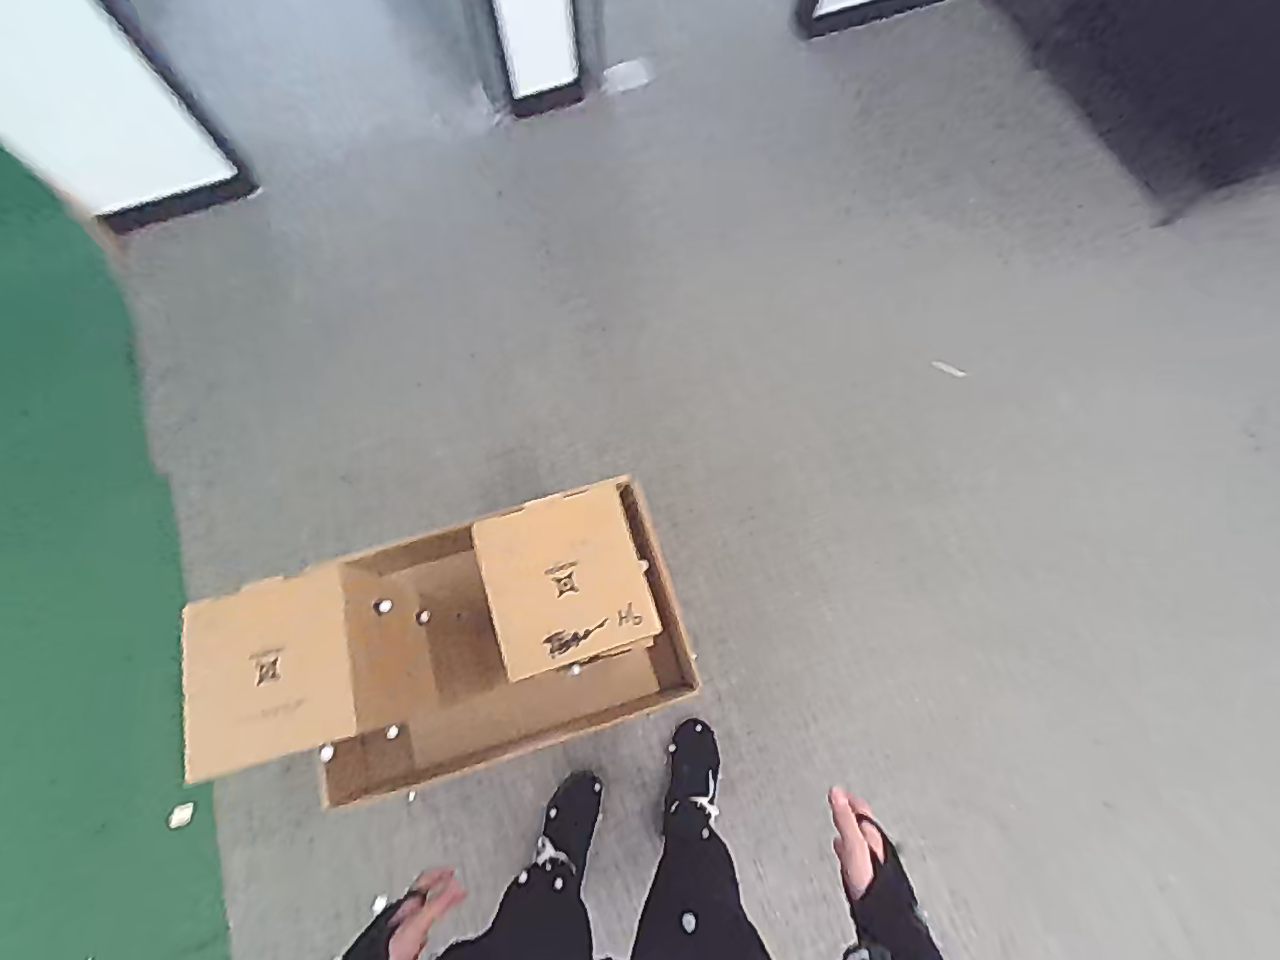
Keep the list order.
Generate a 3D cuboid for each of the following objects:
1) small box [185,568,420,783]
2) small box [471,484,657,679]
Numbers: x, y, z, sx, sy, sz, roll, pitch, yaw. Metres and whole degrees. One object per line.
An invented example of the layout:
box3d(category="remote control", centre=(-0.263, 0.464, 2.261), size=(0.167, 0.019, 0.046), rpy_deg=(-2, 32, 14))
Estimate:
box3d(category="small box", centre=(-0.376, 0.219, 0.626), size=(0.168, 0.176, 0.179), rpy_deg=(-16, 73, -4))
box3d(category="small box", centre=(-0.087, 0.129, 0.657), size=(0.168, 0.176, 0.179), rpy_deg=(-18, 73, -6))
